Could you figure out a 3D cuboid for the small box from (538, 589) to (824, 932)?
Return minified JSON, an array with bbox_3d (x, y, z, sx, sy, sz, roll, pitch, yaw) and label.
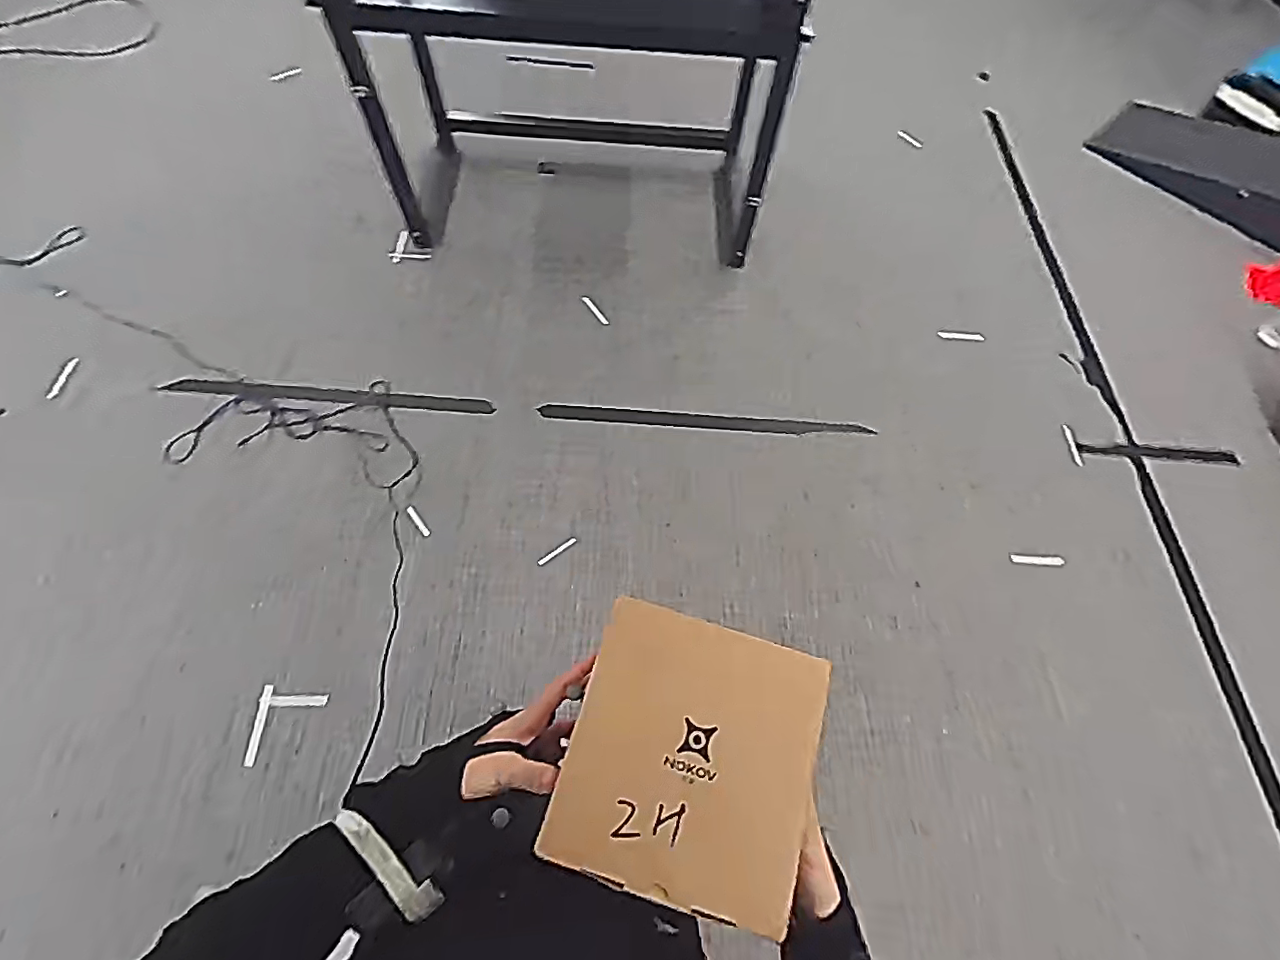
[{"bbox_3d":[0.030,0.209,0.442,0.168,0.176,0.179,16,69,4],"label":"small box"}]
